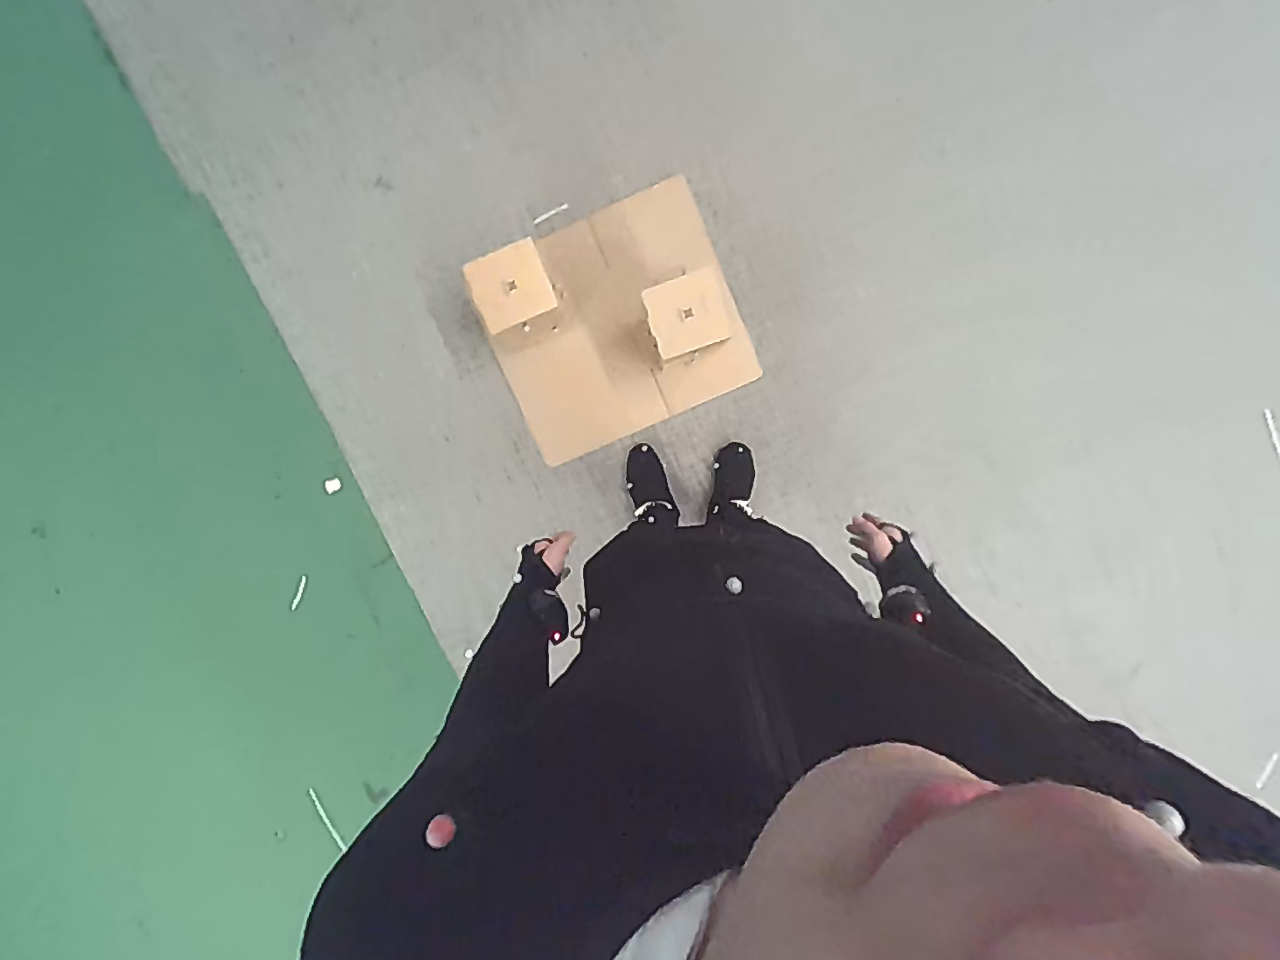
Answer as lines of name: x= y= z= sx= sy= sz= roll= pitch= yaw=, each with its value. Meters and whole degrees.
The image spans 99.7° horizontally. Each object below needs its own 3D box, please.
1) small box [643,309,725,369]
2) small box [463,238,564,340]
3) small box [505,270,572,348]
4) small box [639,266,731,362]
small box: x=0.115 y=-0.411 z=1.469 sx=0.179 sy=0.176 sz=0.168 roll=-20 pitch=97 yaw=4
small box: x=-0.293 y=-0.453 z=1.308 sx=0.179 sy=0.176 sz=0.168 roll=-22 pitch=97 yaw=5
small box: x=-0.294 y=-0.473 z=1.468 sx=0.179 sy=0.176 sz=0.168 roll=-22 pitch=96 yaw=5
small box: x=0.107 y=-0.391 z=1.306 sx=0.179 sy=0.176 sz=0.168 roll=-18 pitch=98 yaw=4
